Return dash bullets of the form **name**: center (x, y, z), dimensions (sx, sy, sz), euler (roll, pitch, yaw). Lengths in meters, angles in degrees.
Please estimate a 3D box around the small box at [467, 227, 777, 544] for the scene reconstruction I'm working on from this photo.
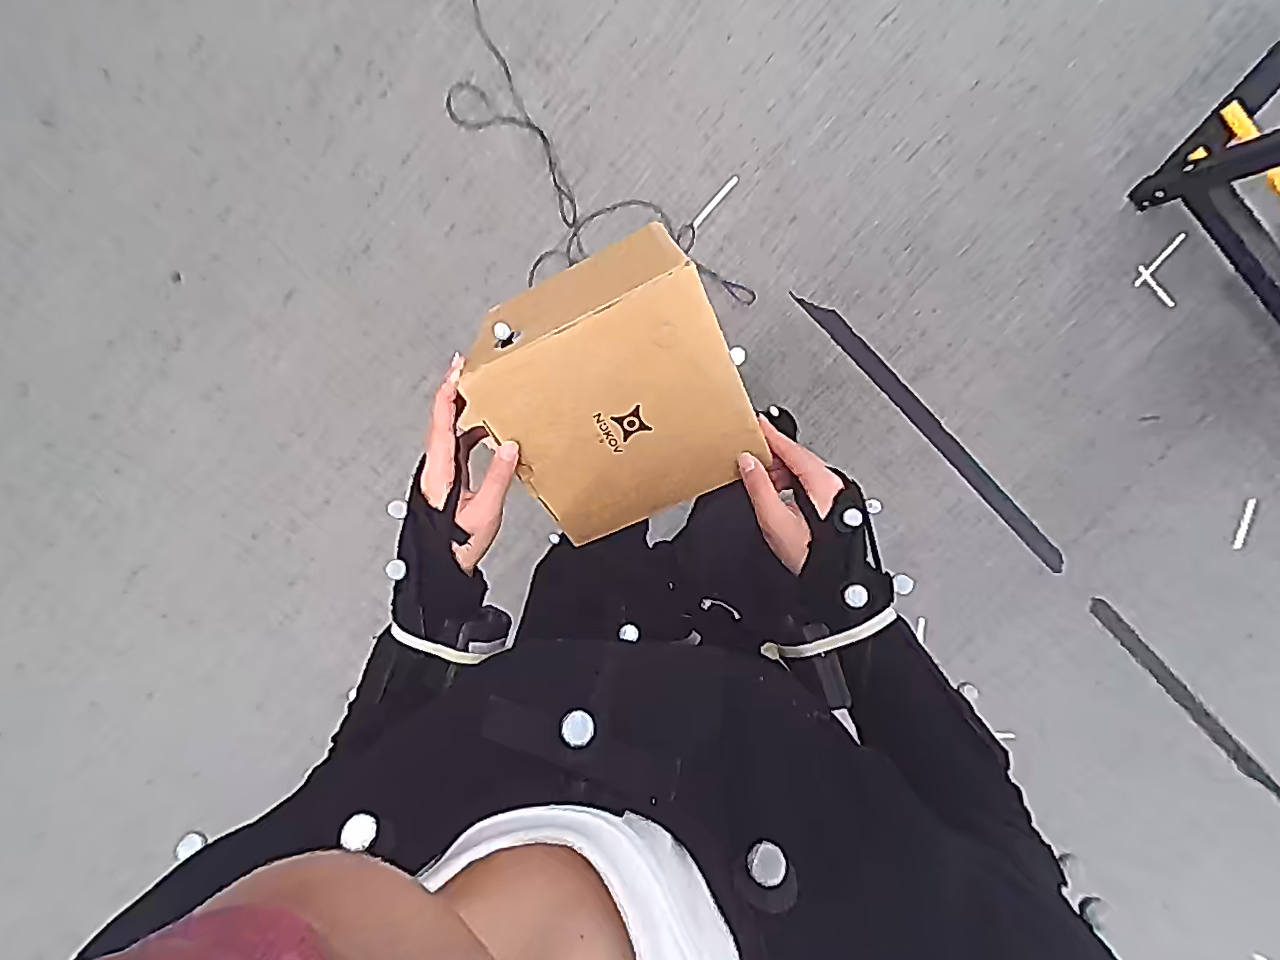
- **small box**: center (-0.012, -0.084, 0.448), dimensions (0.179, 0.176, 0.168), euler (-23, 123, 12)

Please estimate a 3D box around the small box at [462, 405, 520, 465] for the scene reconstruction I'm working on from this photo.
- **small box**: center (-0.258, -0.144, 1.200), dimensions (0.179, 0.176, 0.168), euler (34, 99, -9)
